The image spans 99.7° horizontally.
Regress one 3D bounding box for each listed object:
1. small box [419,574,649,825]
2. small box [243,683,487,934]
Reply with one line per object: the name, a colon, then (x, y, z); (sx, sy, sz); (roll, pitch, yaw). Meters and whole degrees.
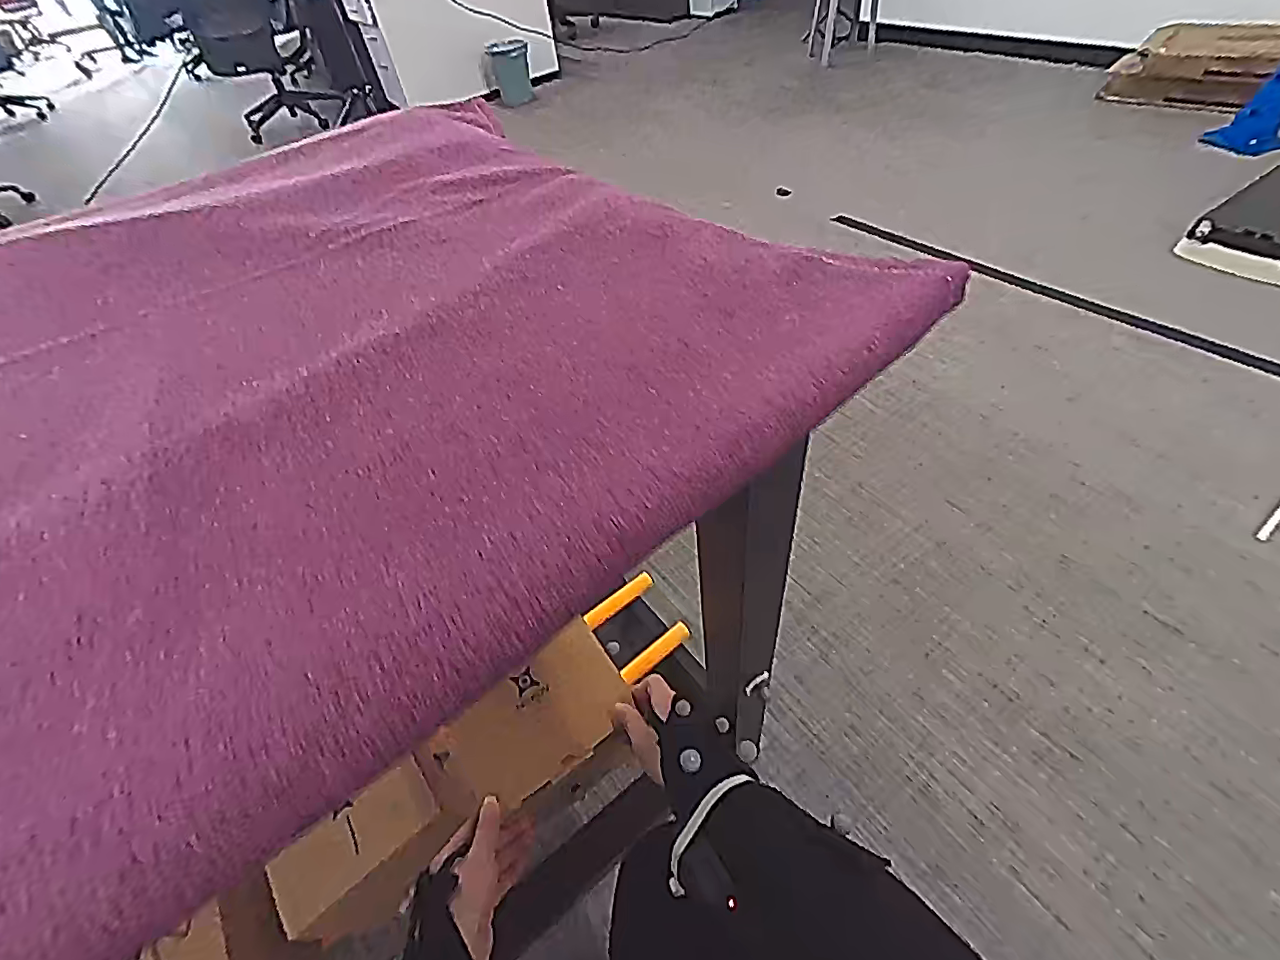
small box: (-0.105, 0.241, 0.585); (0.168, 0.176, 0.179); (-31, 60, -17)
small box: (-0.309, 0.380, 0.632); (0.168, 0.176, 0.179); (-36, 57, -19)
